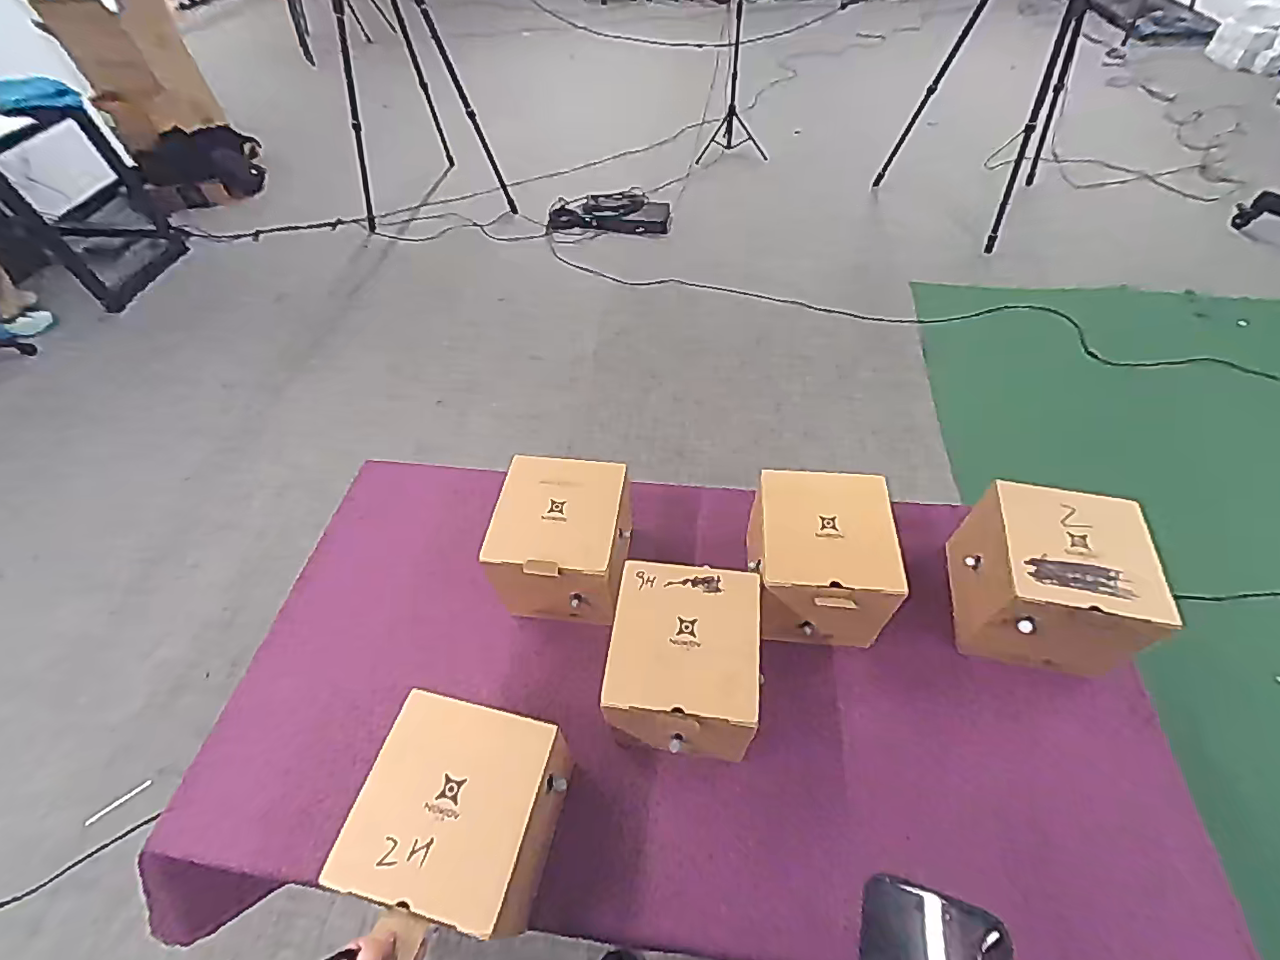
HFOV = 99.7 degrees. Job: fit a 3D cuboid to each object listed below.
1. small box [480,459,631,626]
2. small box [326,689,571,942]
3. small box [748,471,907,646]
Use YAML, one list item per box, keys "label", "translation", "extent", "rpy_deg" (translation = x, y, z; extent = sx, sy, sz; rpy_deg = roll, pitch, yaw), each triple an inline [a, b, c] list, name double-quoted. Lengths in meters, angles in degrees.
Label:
- label: "small box"
  translation: [-0.107, 0.094, 0.780]
  extent: [0.168, 0.176, 0.179]
  rpy_deg: [5, 52, 6]
- label: "small box"
  translation: [-0.178, 0.353, 0.575]
  extent: [0.168, 0.176, 0.179]
  rpy_deg: [10, 52, 10]
- label: "small box"
  translation: [0.241, 0.109, 0.746]
  extent: [0.168, 0.176, 0.179]
  rpy_deg: [2, 53, 6]
